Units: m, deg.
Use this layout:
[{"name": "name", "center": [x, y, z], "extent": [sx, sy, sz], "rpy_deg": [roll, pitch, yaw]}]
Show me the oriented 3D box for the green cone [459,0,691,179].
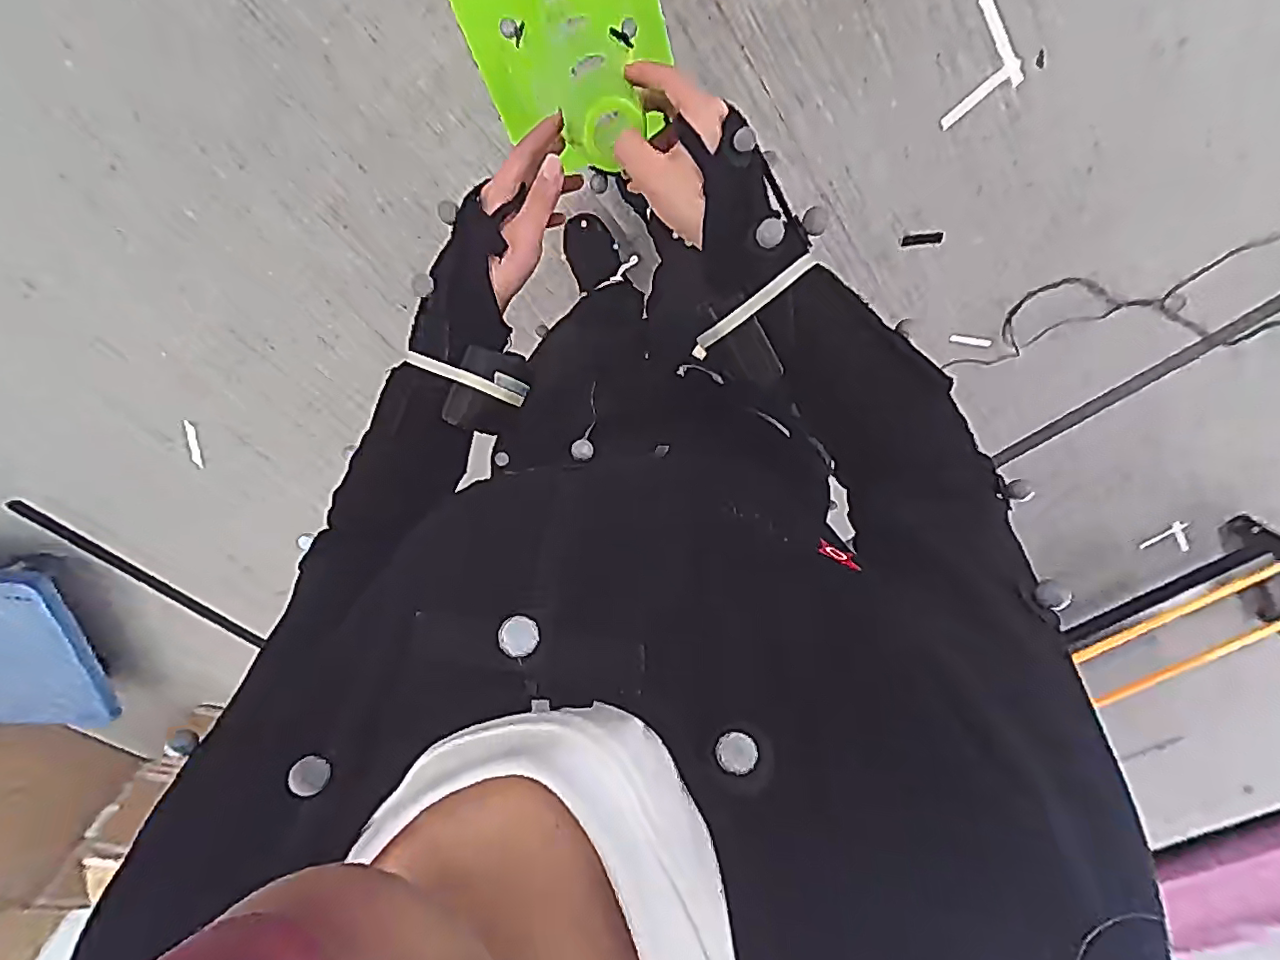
[{"name": "green cone", "center": [-0.038, -0.331, 0.444], "extent": [0.202, 0.368, 0.200], "rpy_deg": [-19, 134, 8]}]
